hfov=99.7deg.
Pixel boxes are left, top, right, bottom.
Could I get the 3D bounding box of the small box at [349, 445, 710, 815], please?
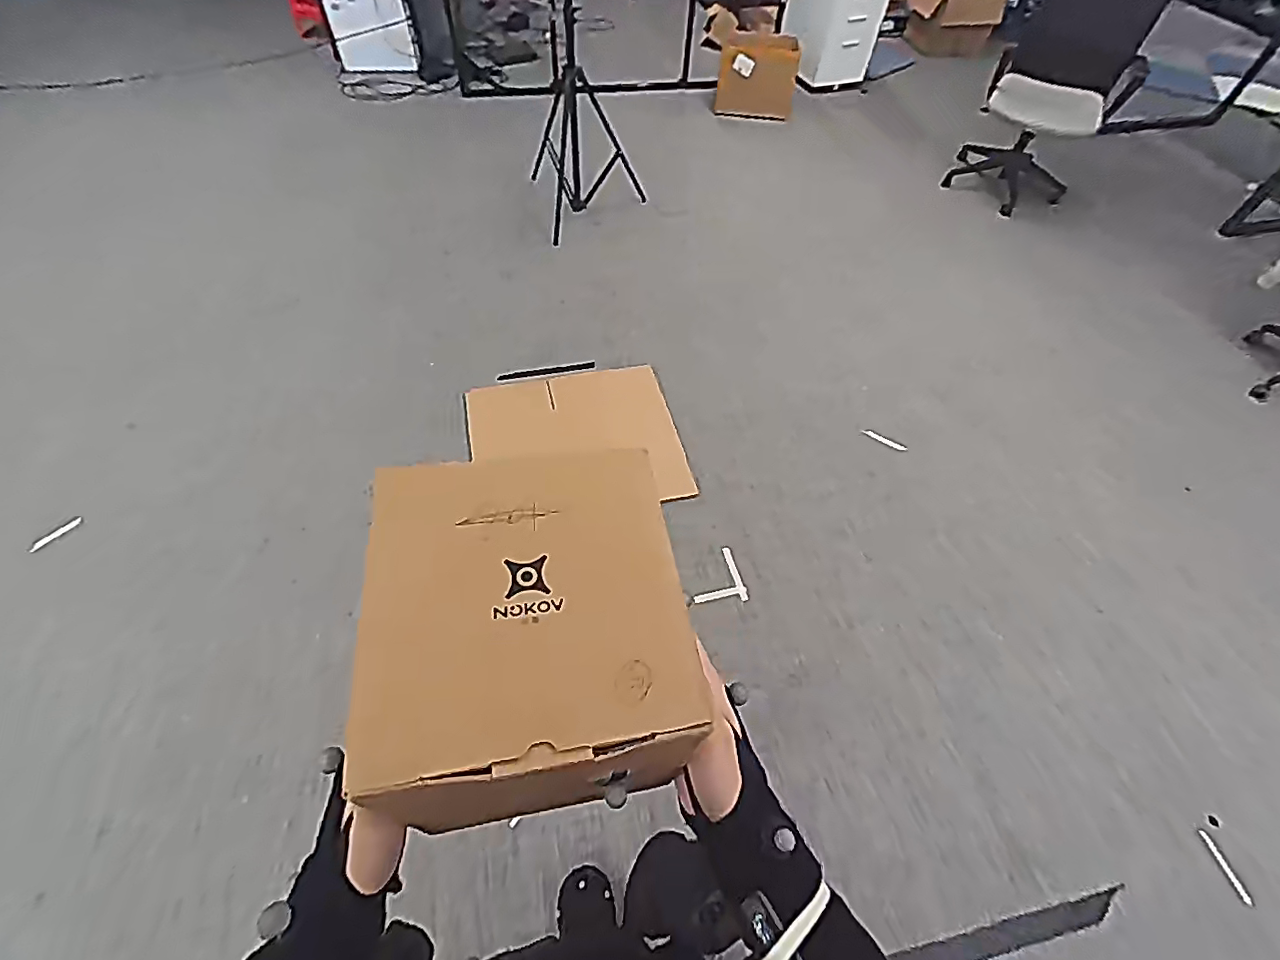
[{"bbox_3d":[-0.068,0.102,0.353,0.168,0.176,0.179,-6,53,-12],"label":"small box"}]
